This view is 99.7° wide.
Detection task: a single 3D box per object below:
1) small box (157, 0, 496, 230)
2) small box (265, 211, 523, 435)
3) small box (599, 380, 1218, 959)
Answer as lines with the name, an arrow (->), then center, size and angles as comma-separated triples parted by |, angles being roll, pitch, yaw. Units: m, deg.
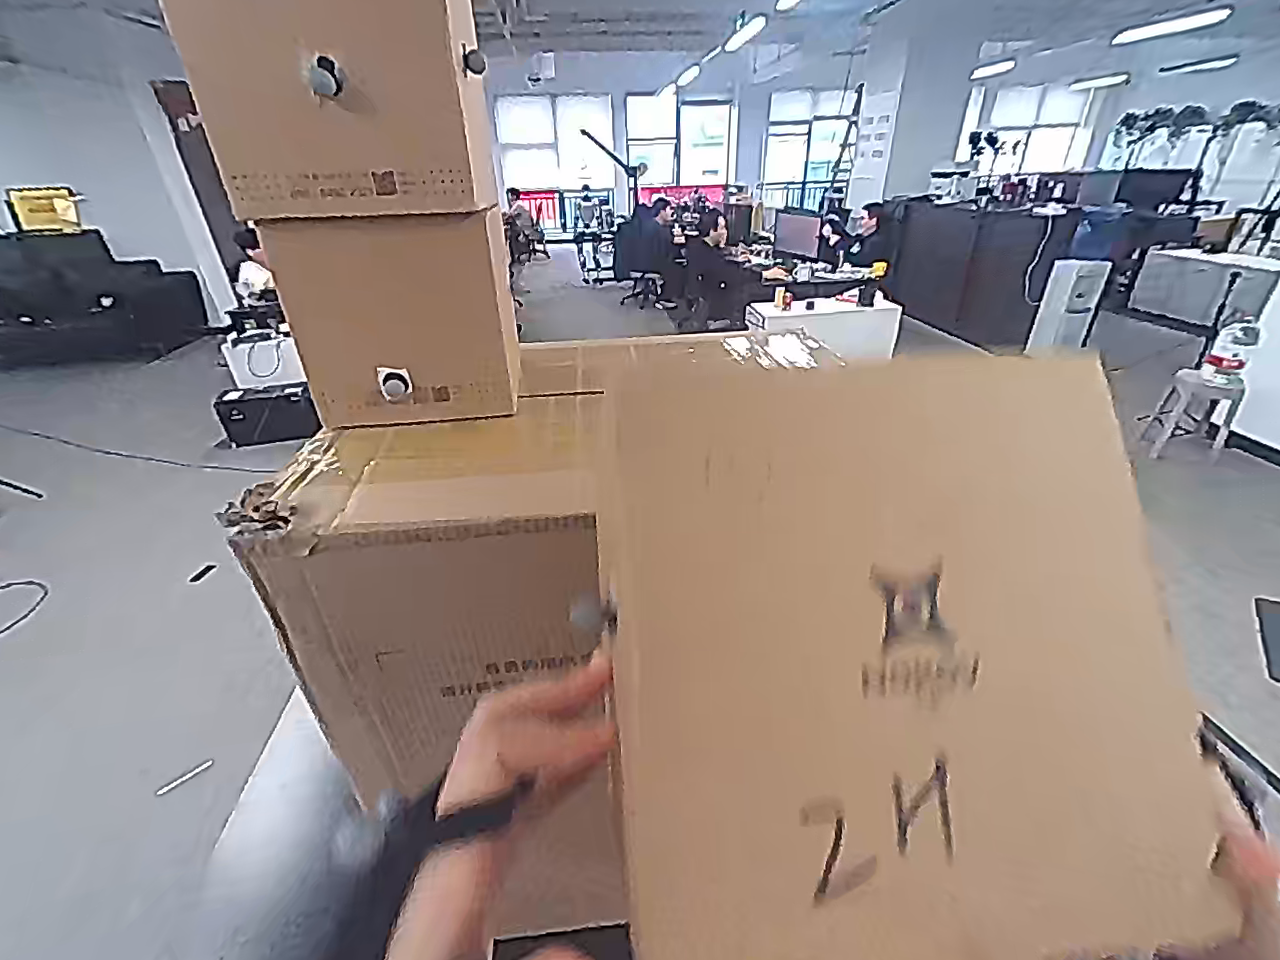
small box -> -0.212, -0.291, 0.419 | 0.168, 0.176, 0.179 | -6, 30, -7
small box -> -0.206, -0.156, 0.513 | 0.168, 0.176, 0.179 | -7, 31, -8
small box -> 0.069, 0.069, 0.238 | 0.168, 0.179, 0.176 | -3, -11, -6
